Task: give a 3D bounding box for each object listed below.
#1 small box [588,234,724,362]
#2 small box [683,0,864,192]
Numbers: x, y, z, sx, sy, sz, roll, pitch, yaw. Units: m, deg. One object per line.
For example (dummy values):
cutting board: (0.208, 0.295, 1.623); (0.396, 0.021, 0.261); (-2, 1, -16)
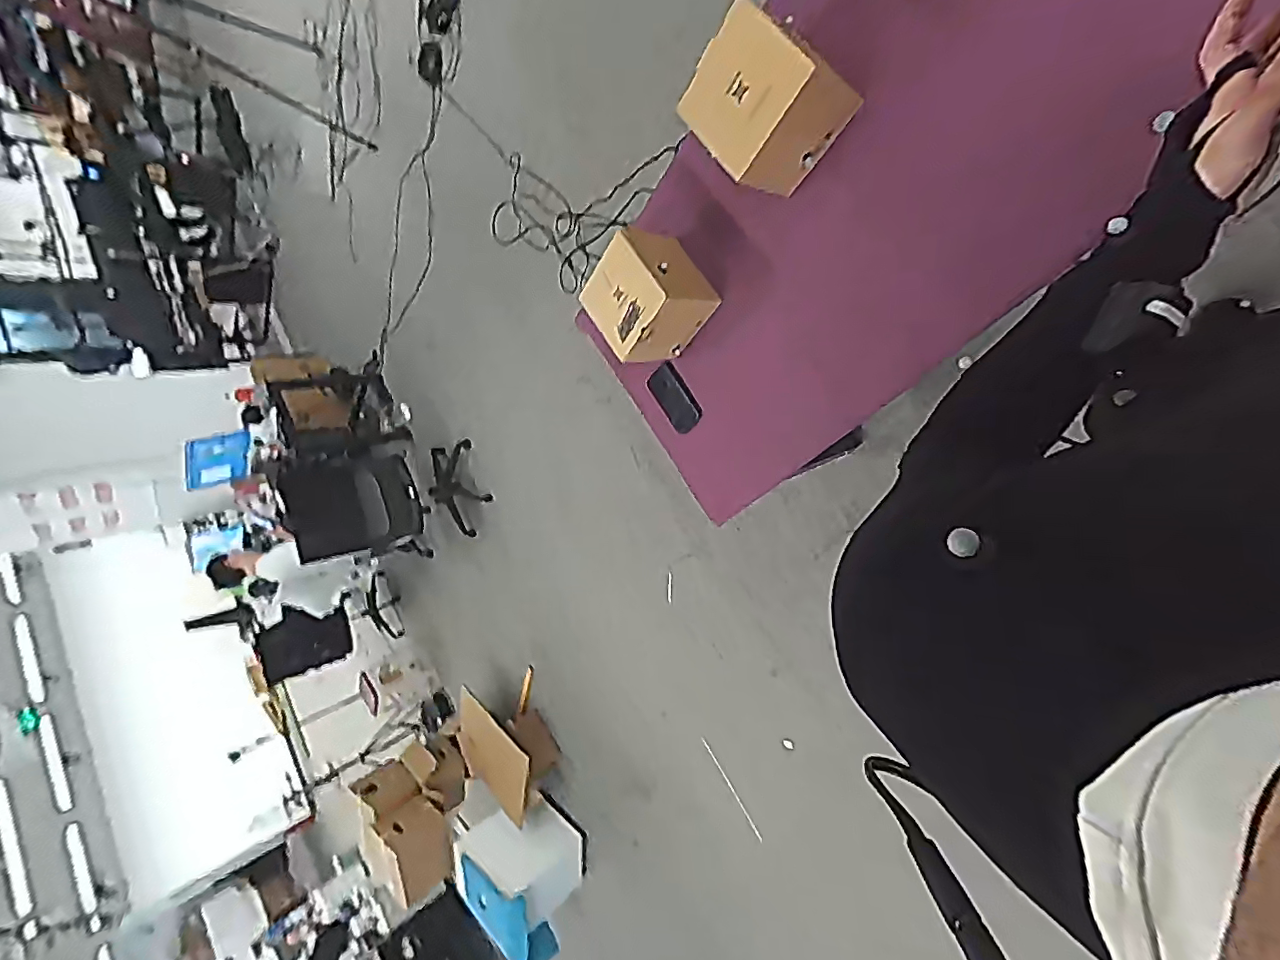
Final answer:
small box: (0.035, -0.358, 1.076); (0.179, 0.176, 0.168); (58, 134, 16)
small box: (0.207, -0.578, 0.839); (0.179, 0.176, 0.168); (57, 135, 15)
